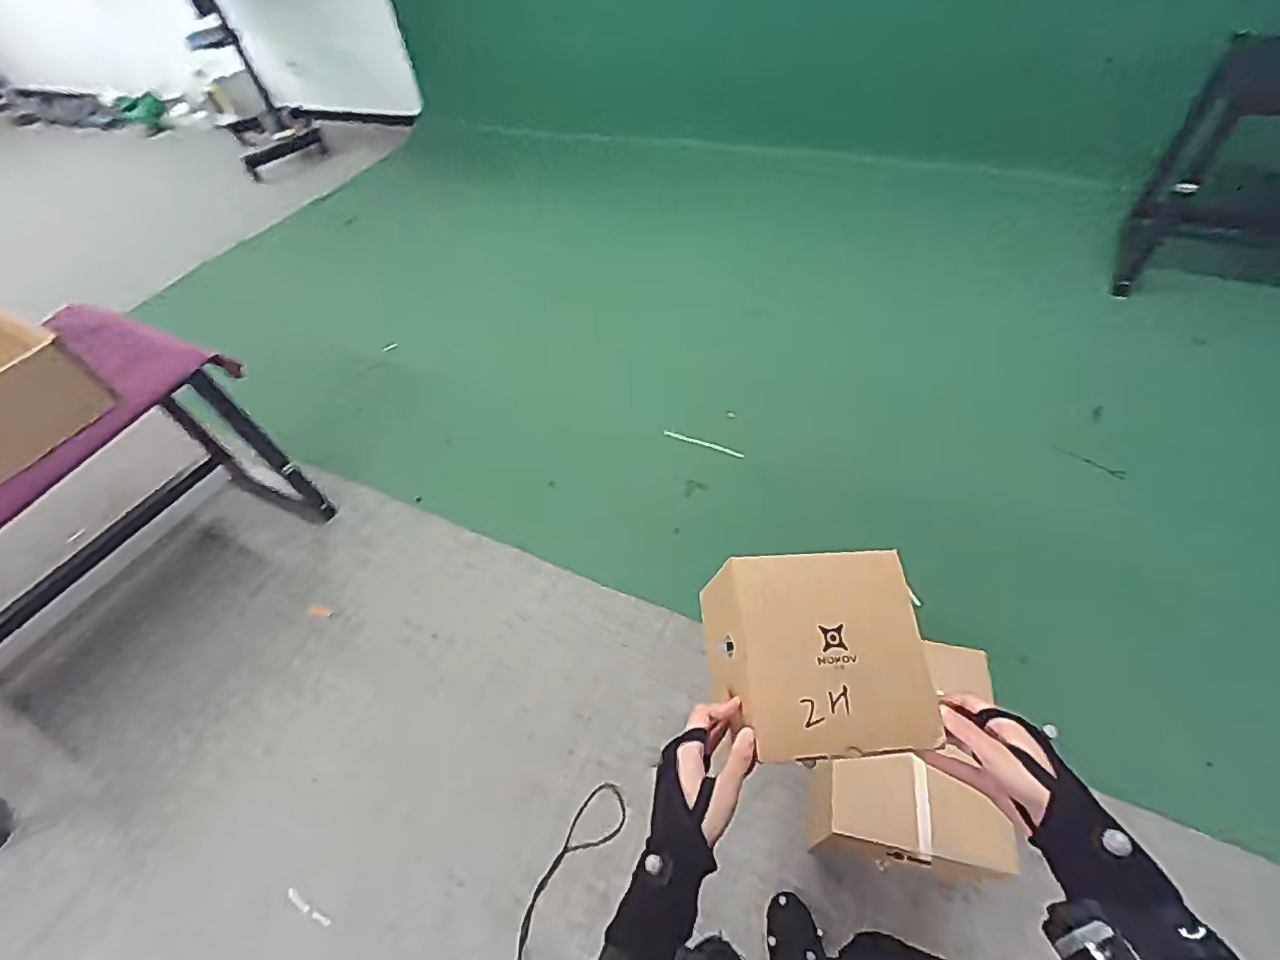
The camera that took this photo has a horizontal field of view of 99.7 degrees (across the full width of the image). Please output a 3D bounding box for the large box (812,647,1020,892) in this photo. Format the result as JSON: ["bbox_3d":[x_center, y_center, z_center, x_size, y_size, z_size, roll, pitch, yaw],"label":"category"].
[{"bbox_3d":[0.552,0.609,1.175,0.320,0.320,0.408,7,51,12],"label":"large box"}]

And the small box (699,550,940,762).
[{"bbox_3d":[0.160,0.181,0.553,0.168,0.176,0.179,-2,67,-6],"label":"small box"}]
